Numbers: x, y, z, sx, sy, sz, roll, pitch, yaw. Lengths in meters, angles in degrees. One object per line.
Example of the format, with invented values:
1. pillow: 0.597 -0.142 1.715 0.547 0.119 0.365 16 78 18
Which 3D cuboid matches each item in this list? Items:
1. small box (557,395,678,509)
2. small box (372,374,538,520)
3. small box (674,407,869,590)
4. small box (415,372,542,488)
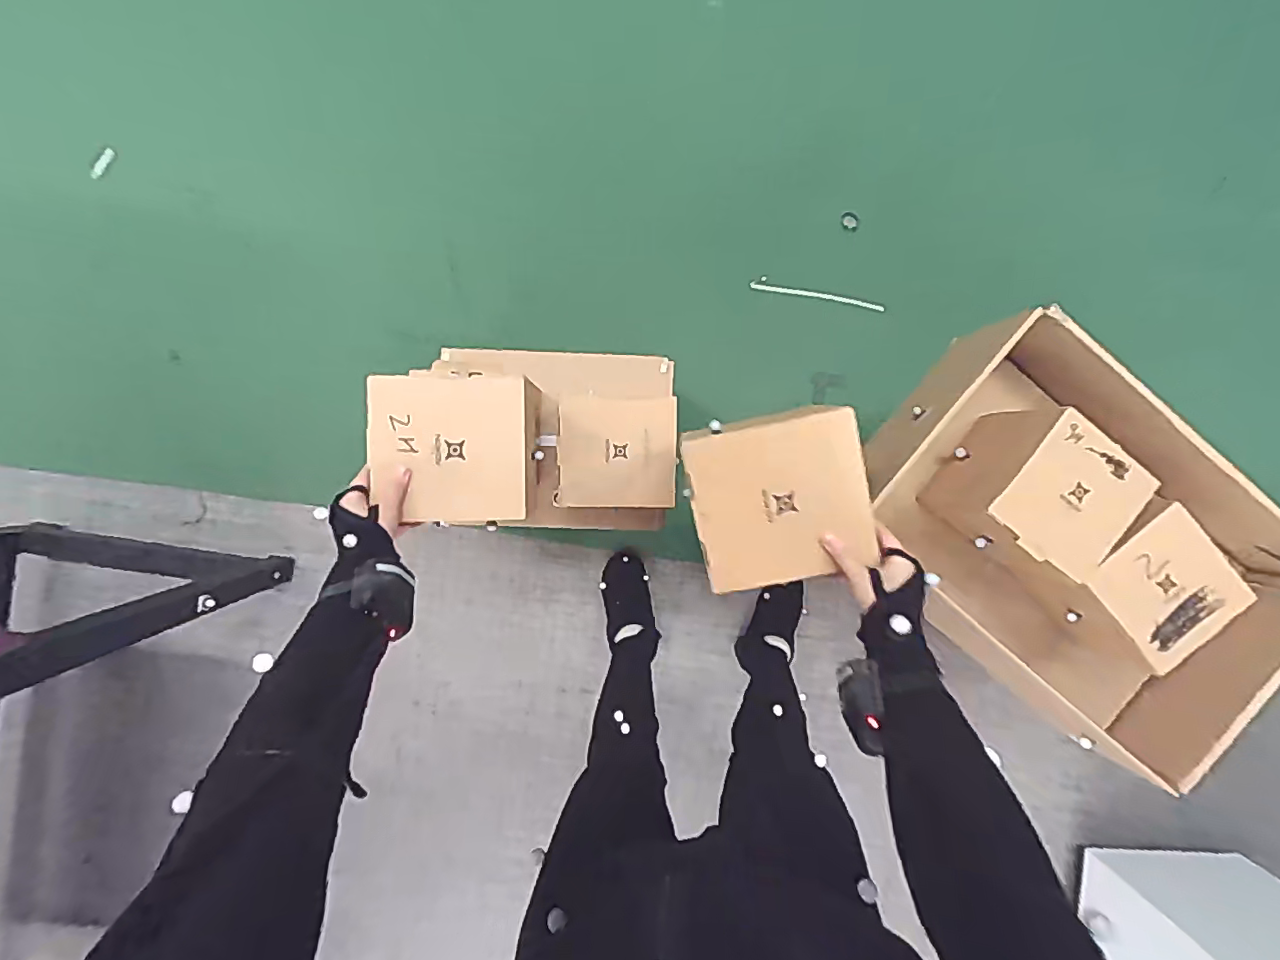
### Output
1. small box: -0.035 -0.043 0.872 0.179 0.176 0.168 1 93 -2
2. small box: -0.224 -0.038 0.696 0.179 0.176 0.168 0 90 -6
3. small box: 0.143 0.011 0.638 0.179 0.176 0.168 -13 96 8
4. small box: -0.252 -0.068 0.864 0.168 0.176 0.179 2 92 -2
